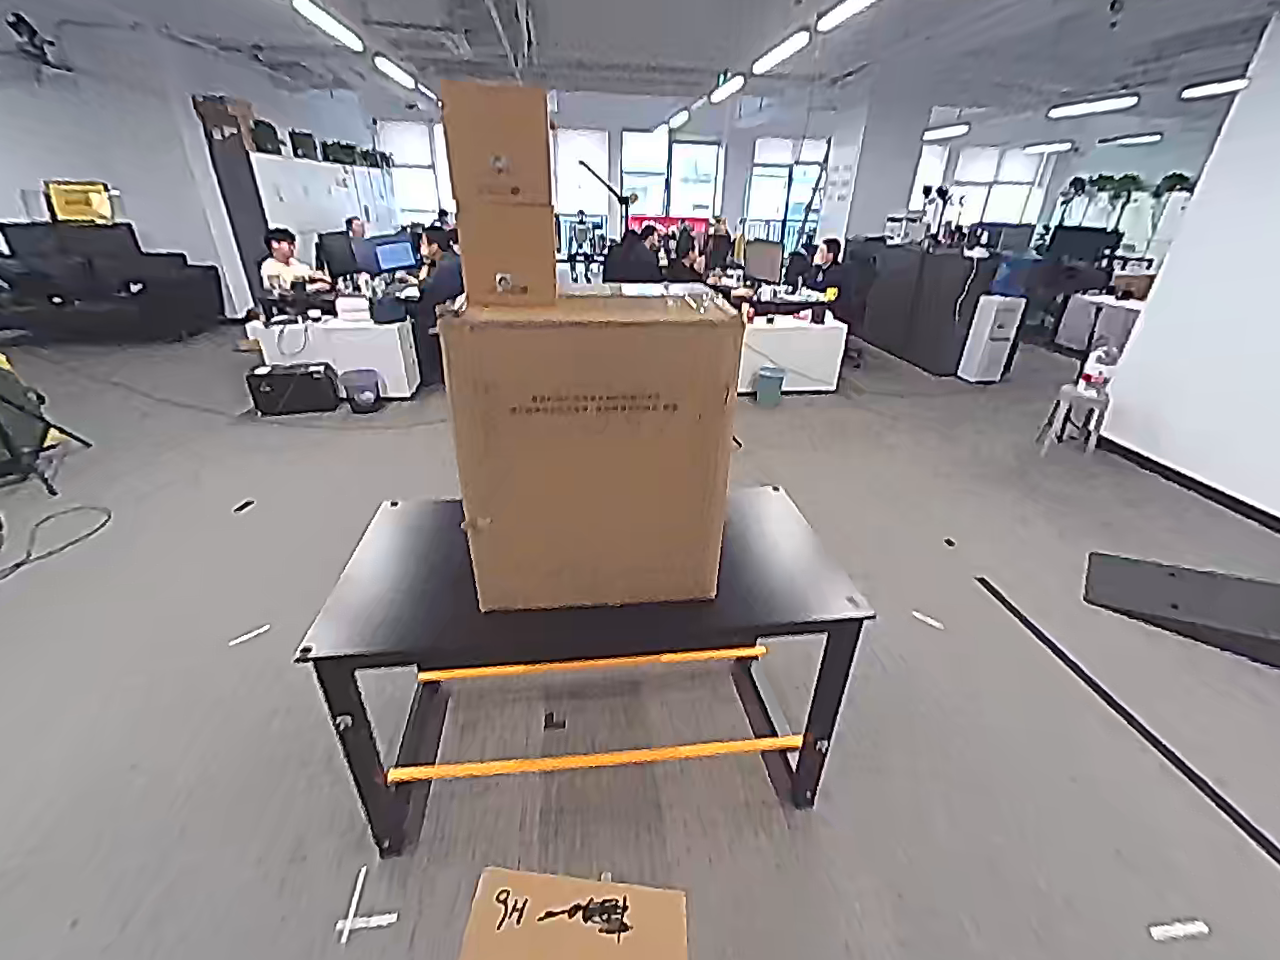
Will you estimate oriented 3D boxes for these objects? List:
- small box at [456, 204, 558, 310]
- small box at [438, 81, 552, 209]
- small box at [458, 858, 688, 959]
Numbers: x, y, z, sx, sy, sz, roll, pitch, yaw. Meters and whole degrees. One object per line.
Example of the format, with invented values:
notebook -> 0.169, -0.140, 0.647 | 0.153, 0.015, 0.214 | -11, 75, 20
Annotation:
small box -> -0.245, -0.424, 1.017 | 0.168, 0.176, 0.179 | -5, 30, -11
small box -> -0.242, -0.568, 0.936 | 0.168, 0.176, 0.179 | -4, 29, -9
small box -> -0.057, 0.424, 0.406 | 0.168, 0.176, 0.179 | 8, 35, -1
